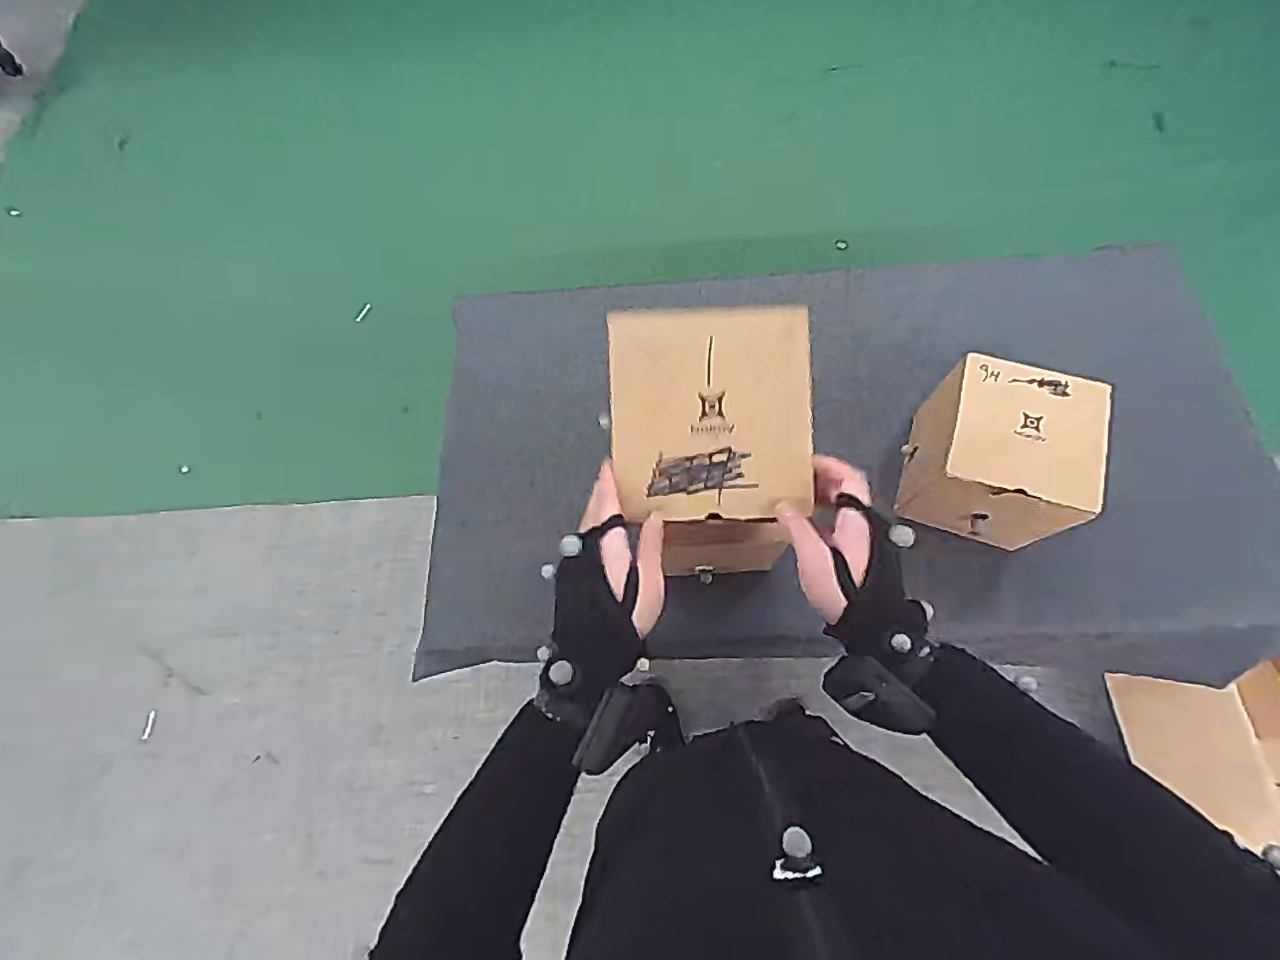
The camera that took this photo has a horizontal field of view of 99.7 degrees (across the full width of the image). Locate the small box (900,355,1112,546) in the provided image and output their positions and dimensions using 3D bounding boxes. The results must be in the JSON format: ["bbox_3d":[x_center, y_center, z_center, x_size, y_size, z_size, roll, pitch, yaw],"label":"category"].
[{"bbox_3d":[0.465,-0.029,0.712,0.168,0.176,0.179,18,73,11],"label":"small box"}]

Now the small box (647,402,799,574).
[{"bbox_3d":[0.097,0.018,0.709,0.168,0.176,0.179,-5,70,3],"label":"small box"}]
